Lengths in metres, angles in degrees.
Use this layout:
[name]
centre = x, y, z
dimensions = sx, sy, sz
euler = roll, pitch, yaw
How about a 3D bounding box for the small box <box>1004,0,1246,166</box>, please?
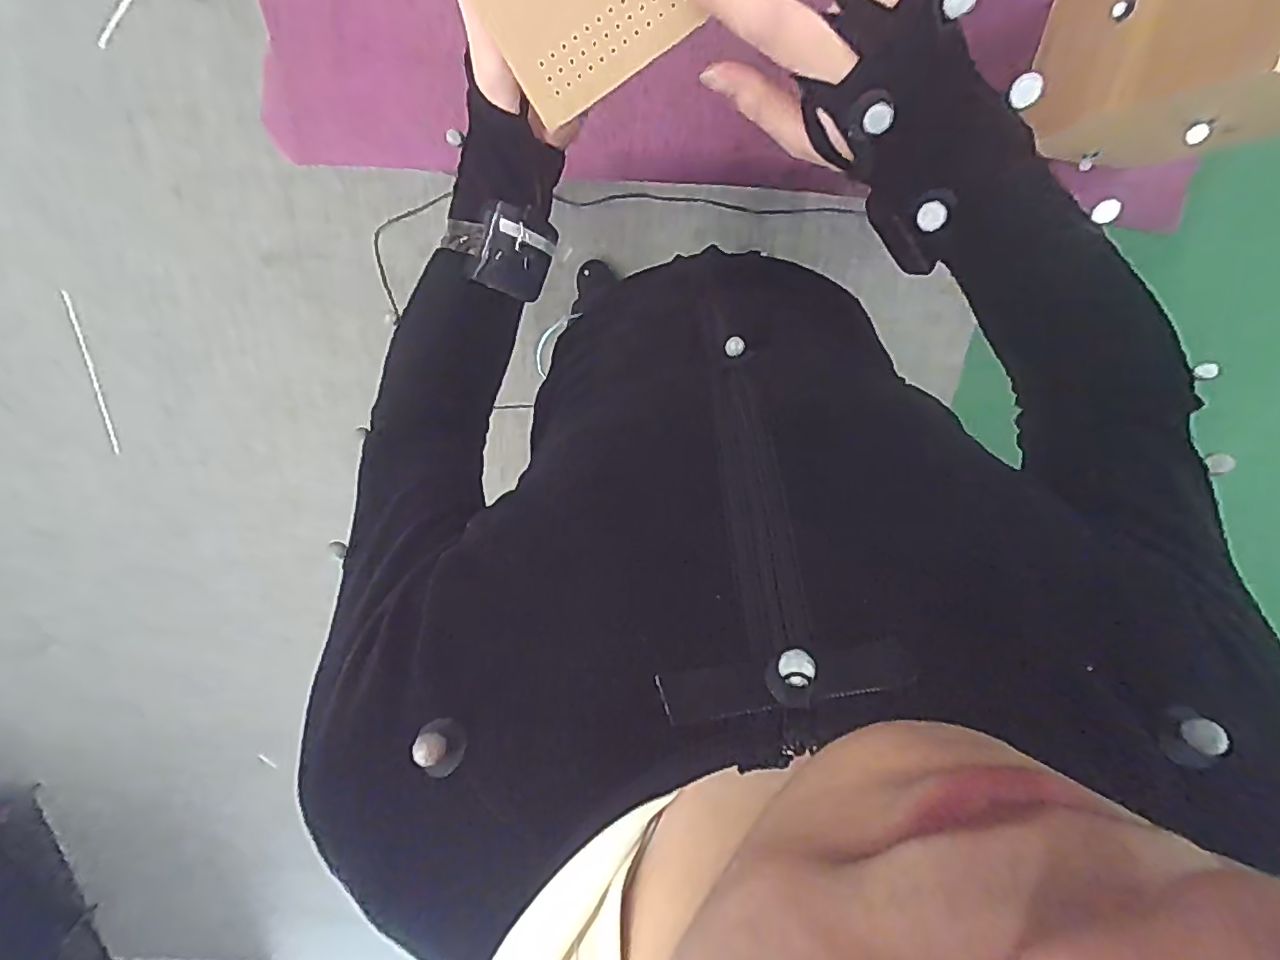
[small box]
centre = 0.574, -0.474, 0.618
dimensions = 0.179, 0.176, 0.168
euler = 7, 111, -3
